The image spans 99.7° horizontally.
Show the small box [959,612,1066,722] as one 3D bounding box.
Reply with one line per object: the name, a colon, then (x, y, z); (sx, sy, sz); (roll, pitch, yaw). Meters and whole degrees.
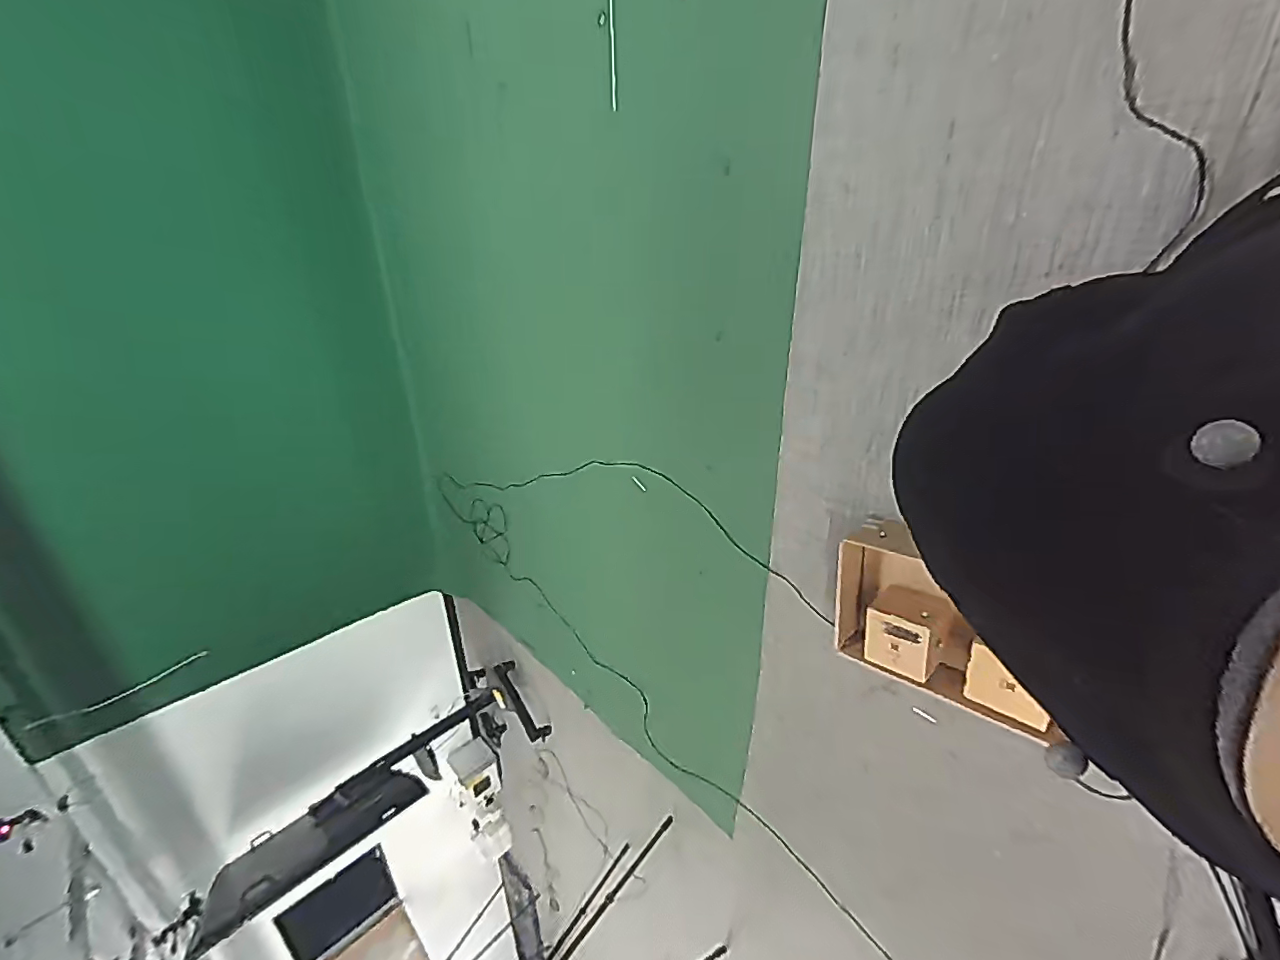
small box: (0.934, 0.457, 1.354); (0.179, 0.176, 0.168); (17, 118, 45)
